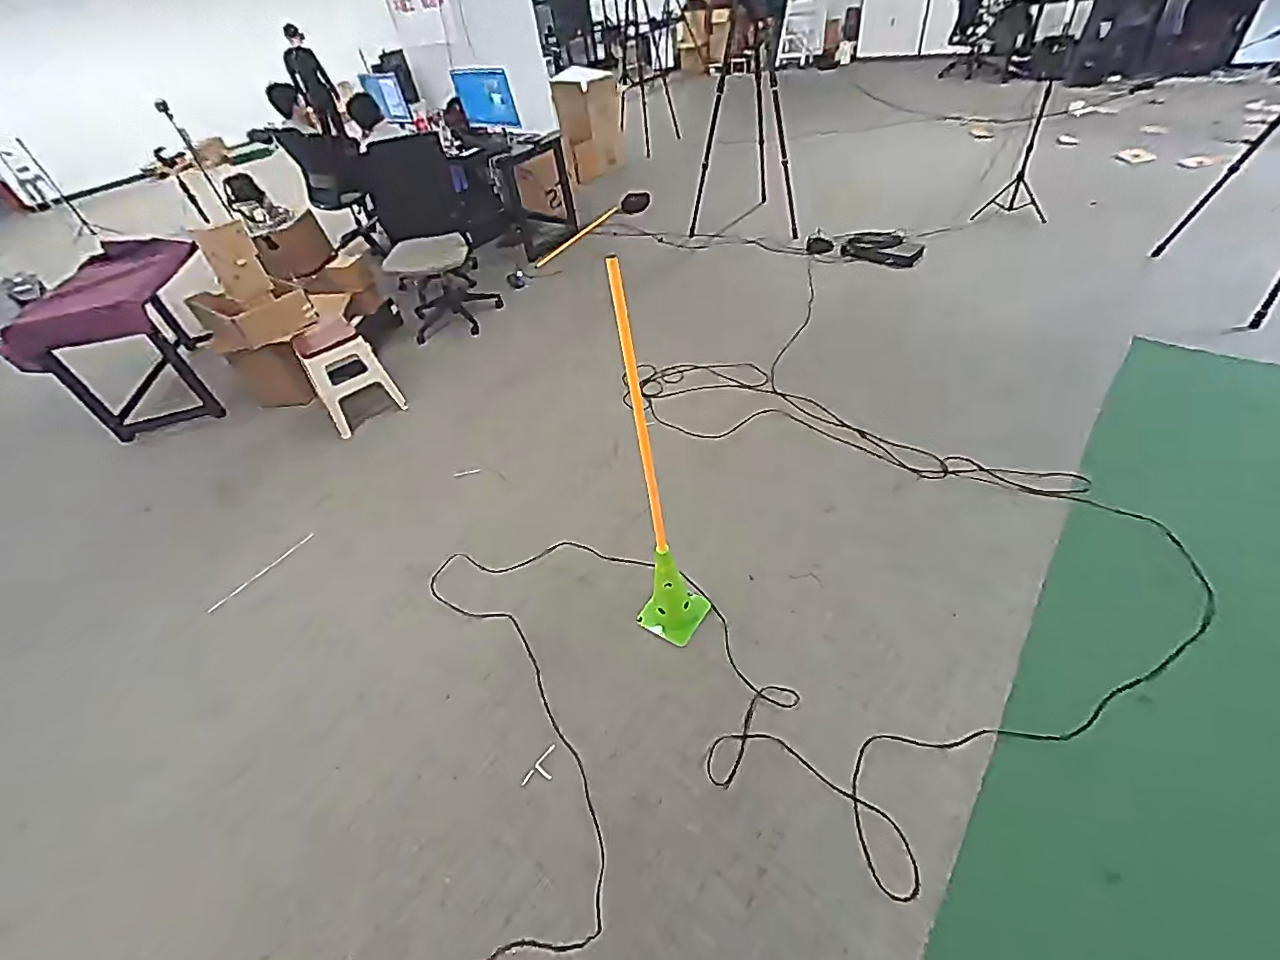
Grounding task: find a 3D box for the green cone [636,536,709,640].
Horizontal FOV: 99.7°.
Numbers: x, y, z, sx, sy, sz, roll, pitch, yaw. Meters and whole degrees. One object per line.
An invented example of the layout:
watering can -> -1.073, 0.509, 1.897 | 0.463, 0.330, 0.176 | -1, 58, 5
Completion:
green cone -> 0.091, 0.314, 1.732 | 0.200, 0.368, 0.202 | 21, 51, 28
